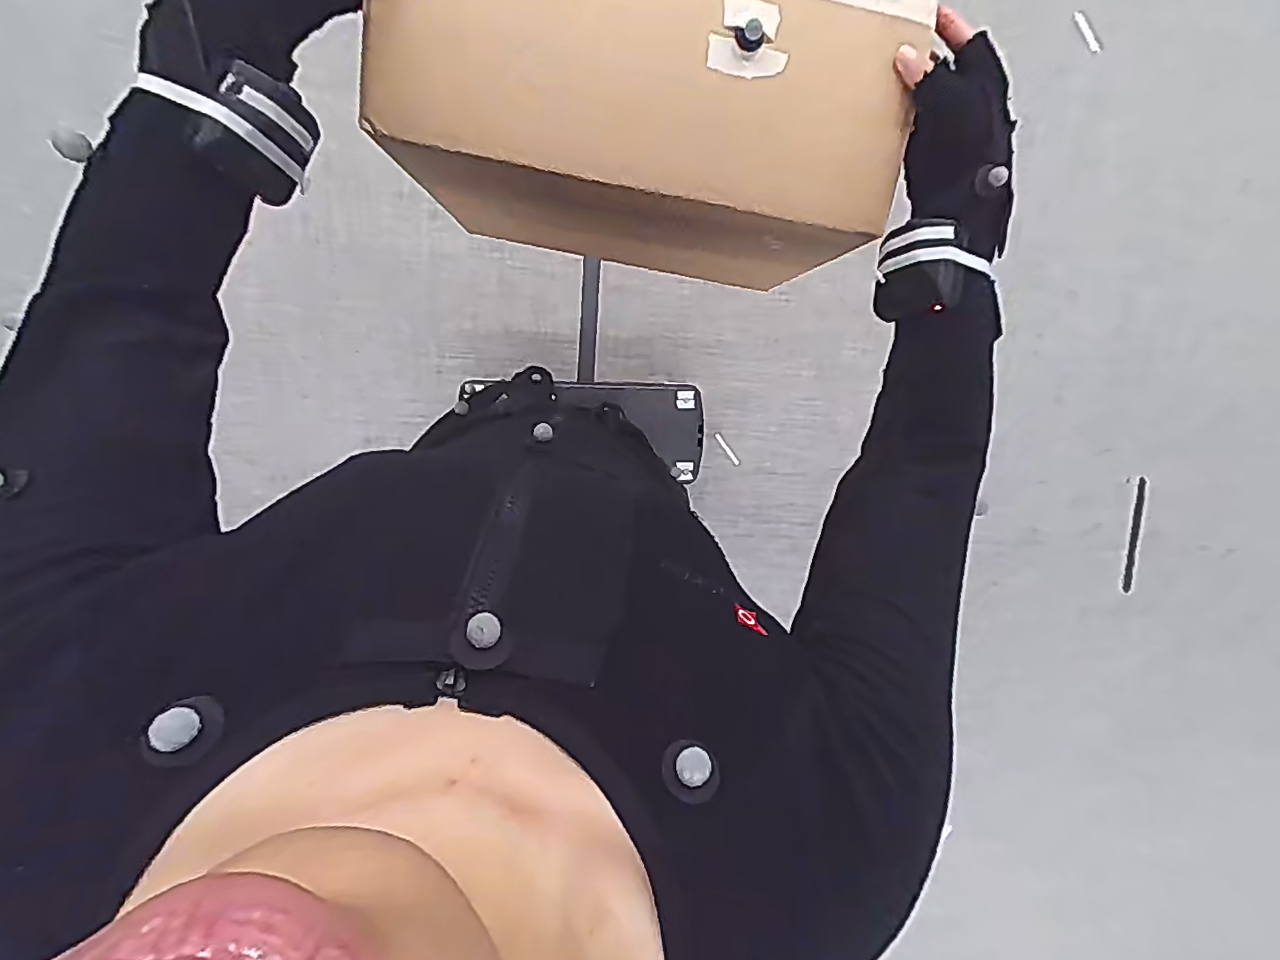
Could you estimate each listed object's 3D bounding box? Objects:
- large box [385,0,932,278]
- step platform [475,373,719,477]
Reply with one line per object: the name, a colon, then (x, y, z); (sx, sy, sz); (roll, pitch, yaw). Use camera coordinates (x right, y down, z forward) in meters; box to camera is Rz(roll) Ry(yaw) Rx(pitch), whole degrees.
large box: (0.013, -0.413, 0.537); (0.408, 0.320, 0.320); (8, 102, -6)
step platform: (-0.118, -0.158, 1.554); (0.684, 0.204, 0.286); (0, 98, -4)
